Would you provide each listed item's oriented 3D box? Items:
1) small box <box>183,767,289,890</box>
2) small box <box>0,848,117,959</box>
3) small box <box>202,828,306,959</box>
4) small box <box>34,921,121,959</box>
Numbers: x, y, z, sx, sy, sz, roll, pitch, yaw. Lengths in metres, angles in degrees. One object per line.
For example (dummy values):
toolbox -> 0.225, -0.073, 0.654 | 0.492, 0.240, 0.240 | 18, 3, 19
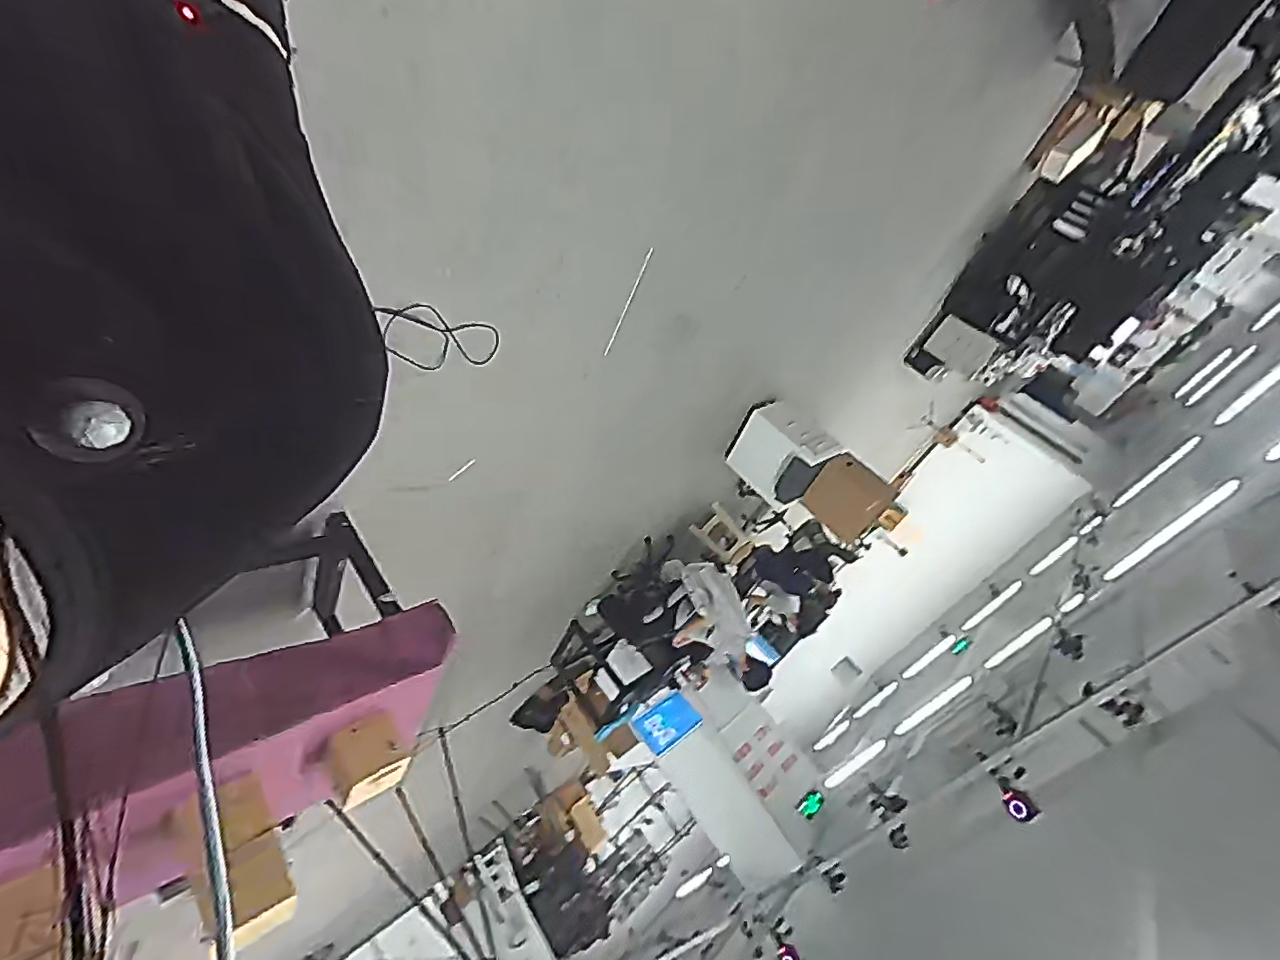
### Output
small box -> -1.019, 0.869, 1.364 | 0.179, 0.176, 0.168 | -11, 140, -47
small box -> -1.230, 0.914, 1.118 | 0.179, 0.176, 0.168 | -16, 143, -46
small box -> -0.923, 0.976, 1.289 | 0.168, 0.176, 0.179 | -12, 141, -46
small box -> -1.125, 1.019, 1.046 | 0.179, 0.176, 0.168 | -15, 143, -46
